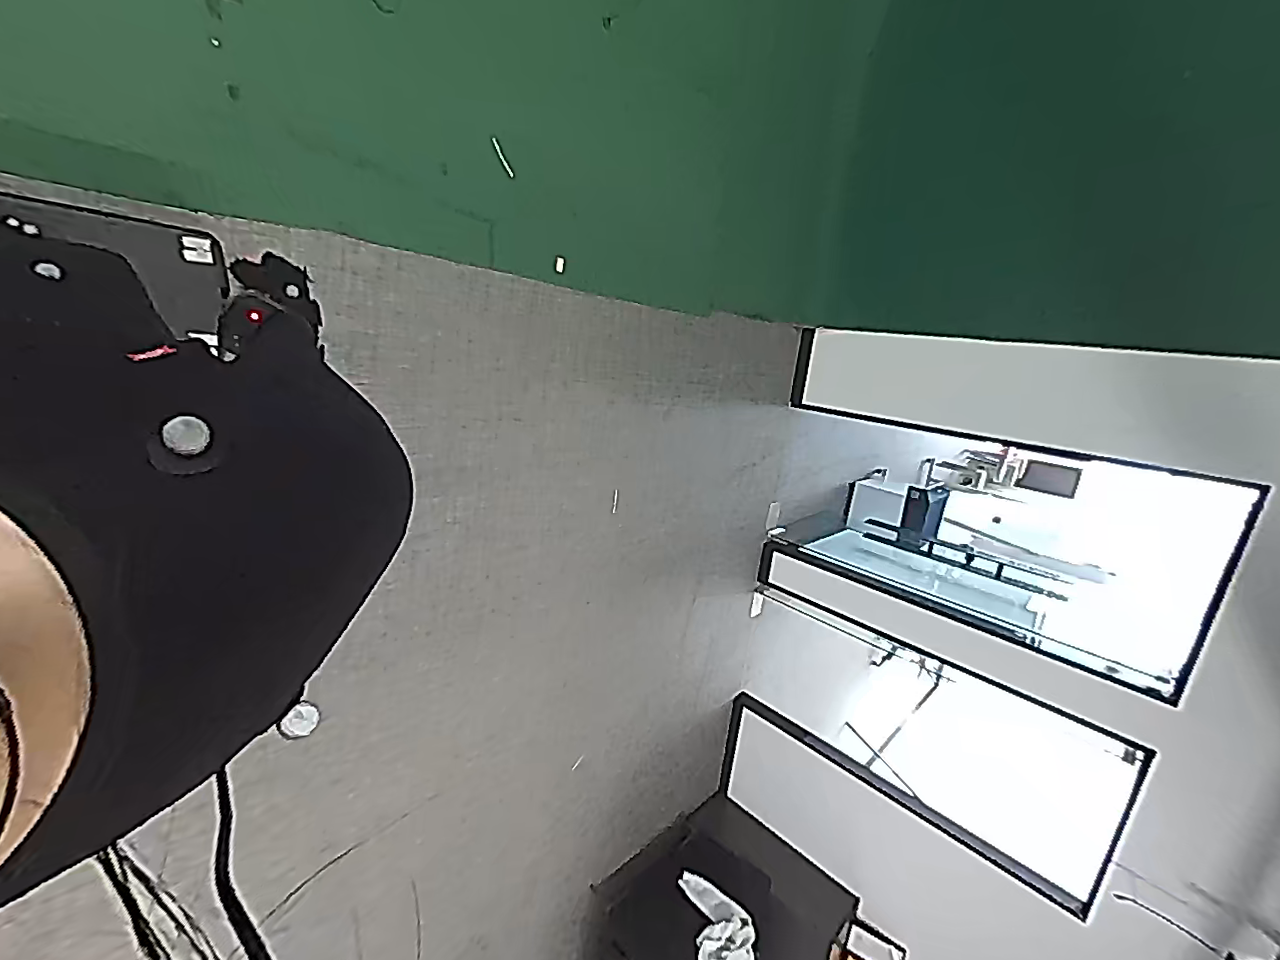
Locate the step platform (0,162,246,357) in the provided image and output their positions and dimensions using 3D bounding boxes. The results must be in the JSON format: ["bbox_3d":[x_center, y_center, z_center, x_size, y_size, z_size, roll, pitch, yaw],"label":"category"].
[{"bbox_3d":[-1.048,-0.363,0.842,0.684,0.204,0.286,-7,111,-45],"label":"step platform"}]
